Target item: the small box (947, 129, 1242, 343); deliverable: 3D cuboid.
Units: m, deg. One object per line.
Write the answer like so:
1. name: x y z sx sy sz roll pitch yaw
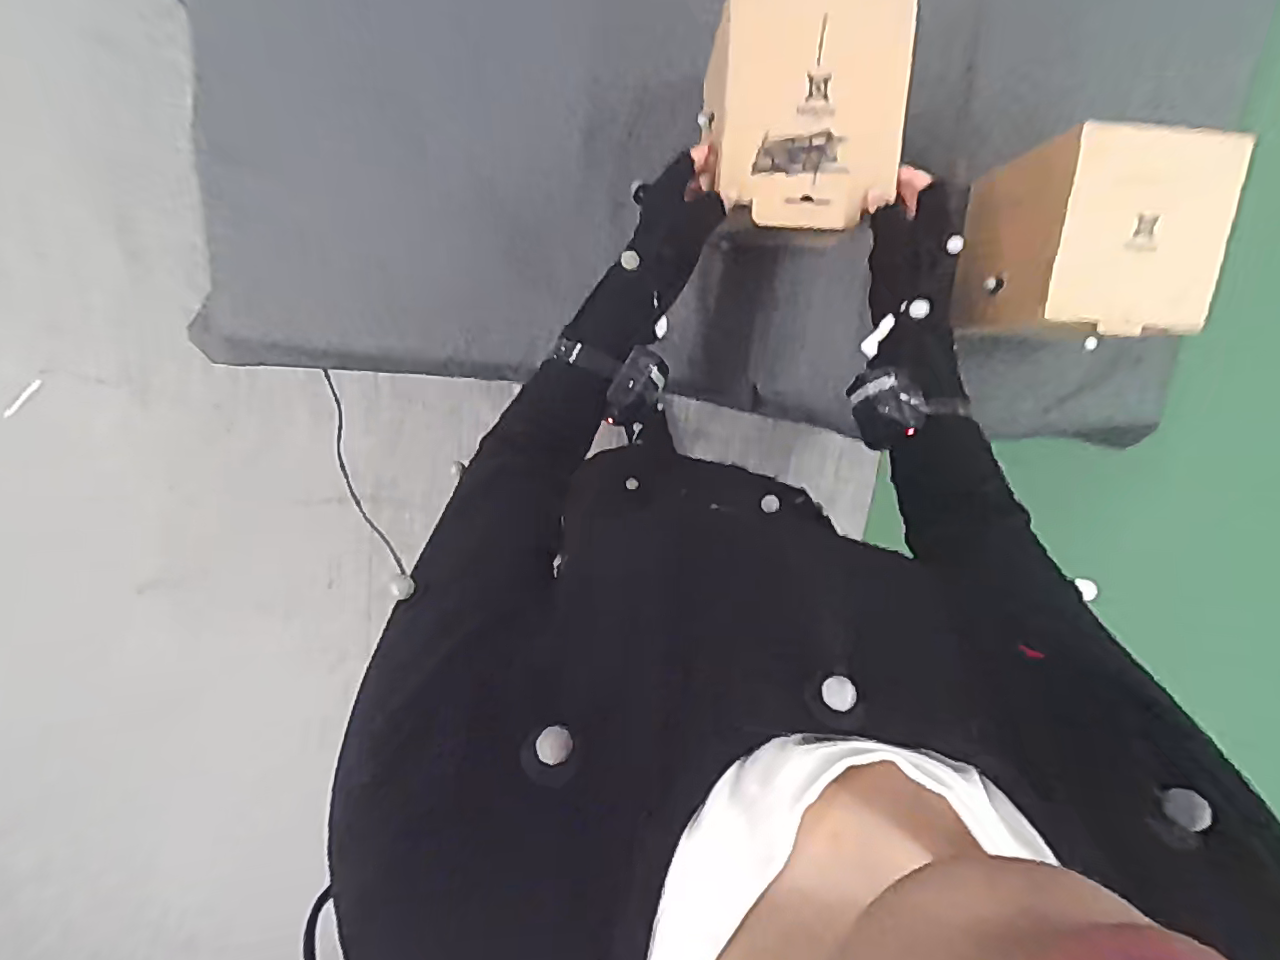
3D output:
1. small box: 0.470 -0.248 0.593 0.168 0.176 0.179 3 100 -3

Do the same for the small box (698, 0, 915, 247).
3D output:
1. small box: 0.154 -0.353 0.564 0.168 0.176 0.179 2 101 -2
